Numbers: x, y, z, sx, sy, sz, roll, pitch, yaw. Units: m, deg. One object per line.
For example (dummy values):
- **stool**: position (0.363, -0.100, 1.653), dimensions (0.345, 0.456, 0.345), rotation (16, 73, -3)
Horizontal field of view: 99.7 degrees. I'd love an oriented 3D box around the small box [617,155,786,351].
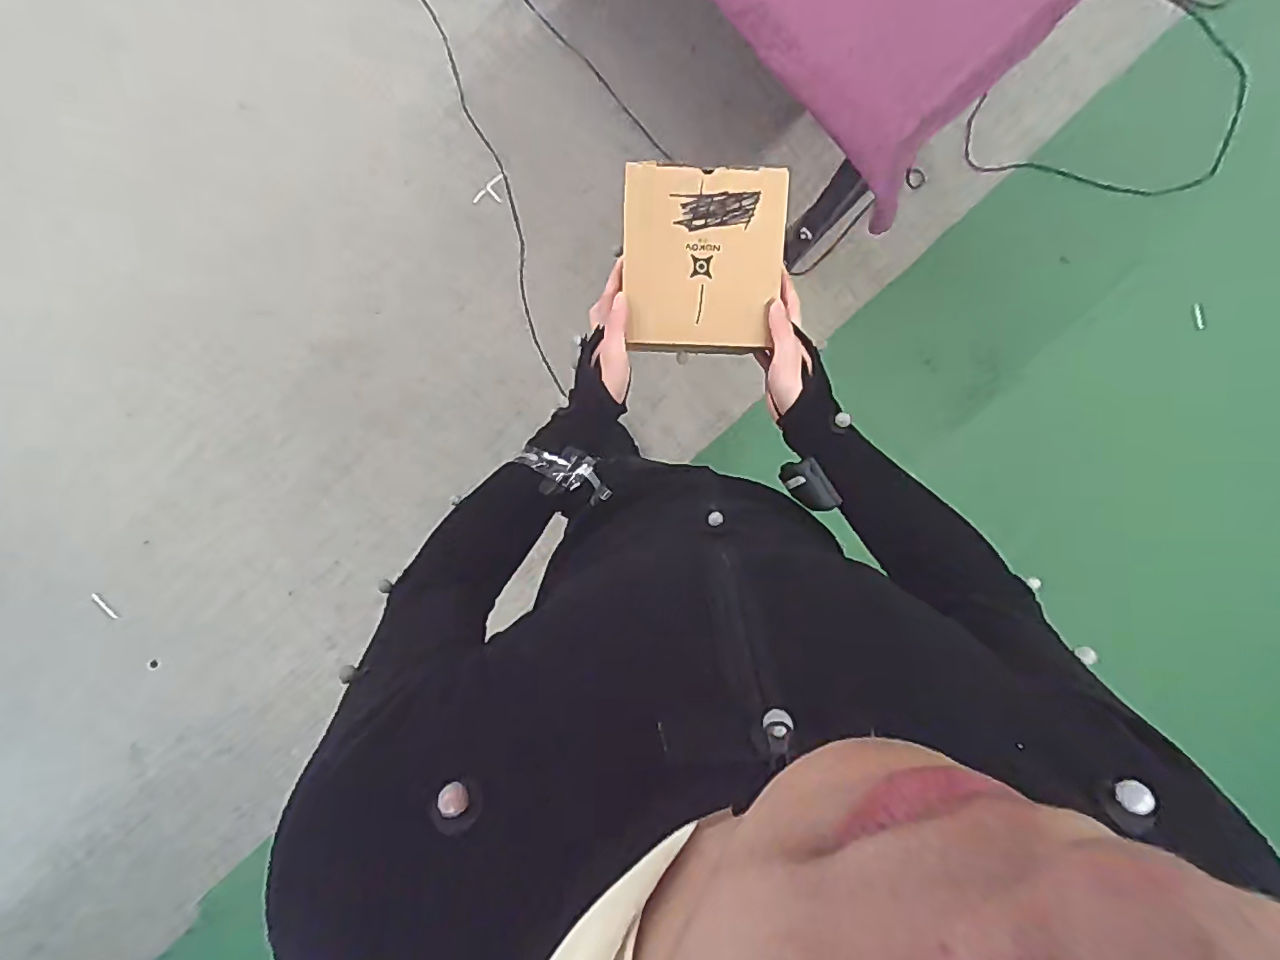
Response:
- **small box**: position (0.059, -0.246, 0.624), dimensions (0.168, 0.176, 0.179), rotation (2, 101, 0)
